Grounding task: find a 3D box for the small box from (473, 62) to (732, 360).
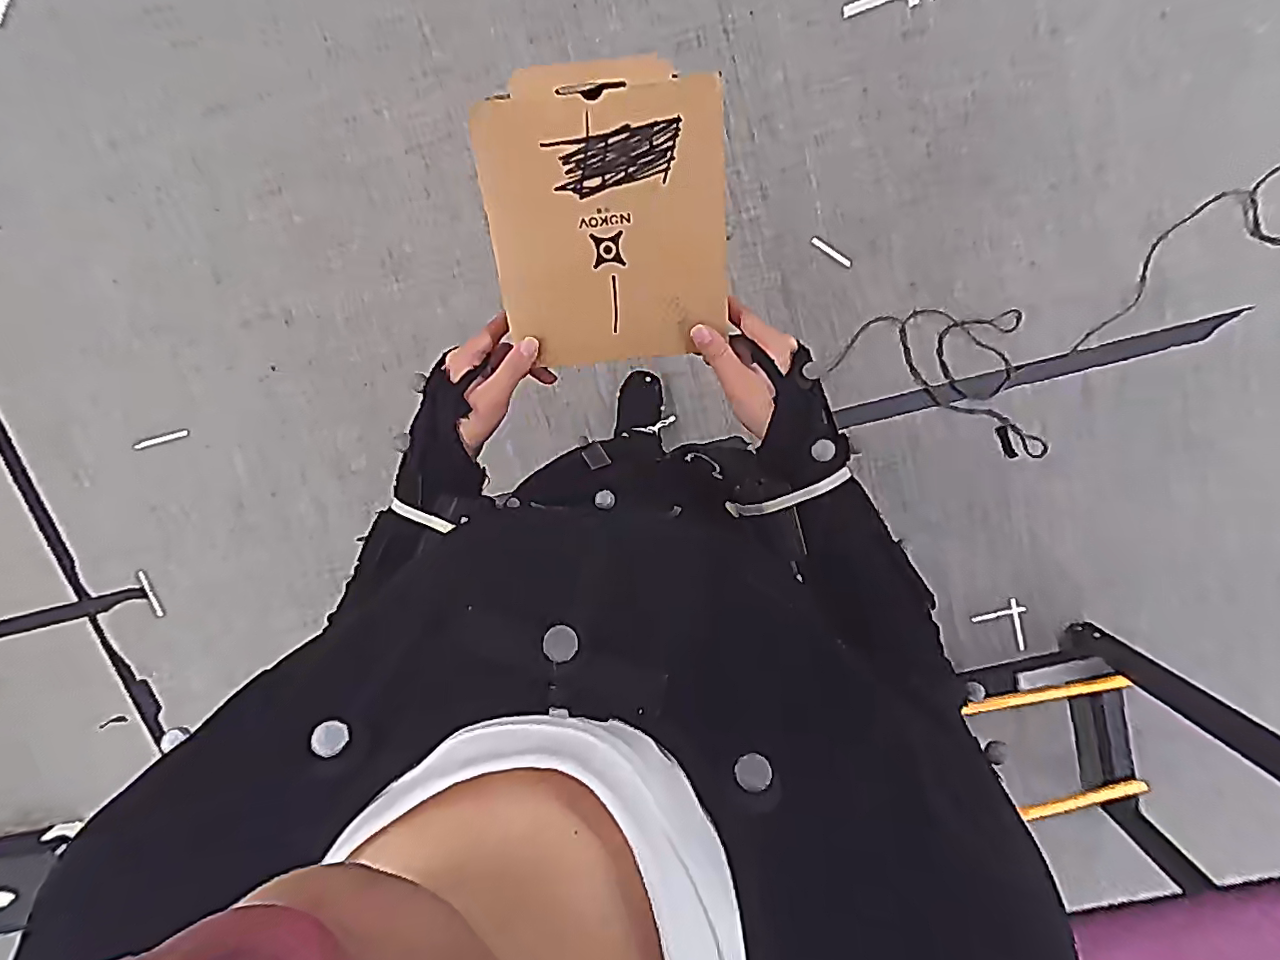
[{"bbox_3d":[-0.018,-0.209,0.443,0.168,0.176,0.179,-4,117,3],"label":"small box"}]
